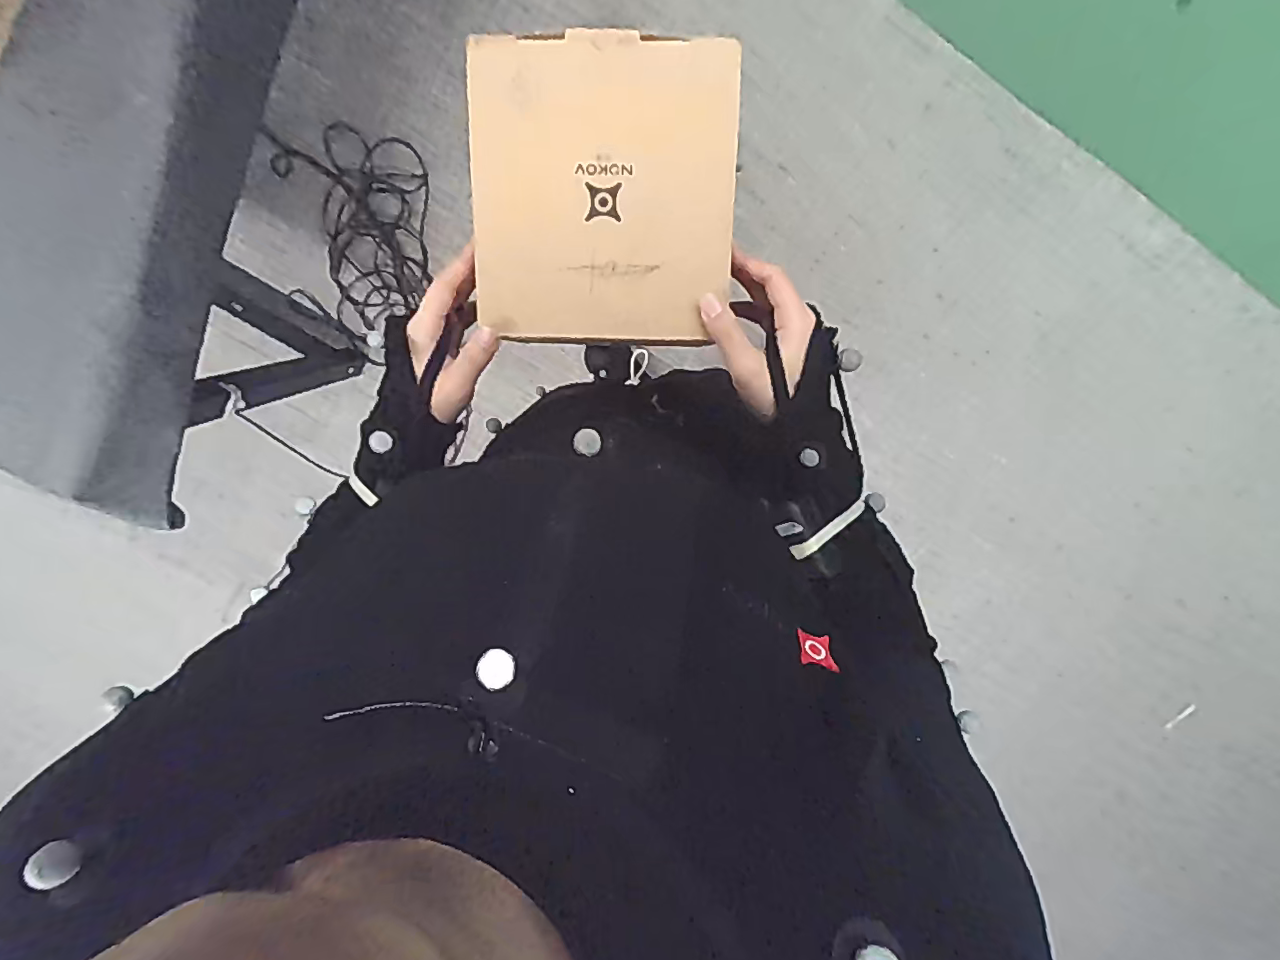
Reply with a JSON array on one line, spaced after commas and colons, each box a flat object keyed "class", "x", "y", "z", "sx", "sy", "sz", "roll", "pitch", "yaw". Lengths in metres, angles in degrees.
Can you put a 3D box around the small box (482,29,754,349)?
[{"class": "small box", "x": -0.016, "y": -0.195, "z": 0.414, "sx": 0.168, "sy": 0.176, "sz": 0.179, "roll": 2, "pitch": 103, "yaw": 0}]
